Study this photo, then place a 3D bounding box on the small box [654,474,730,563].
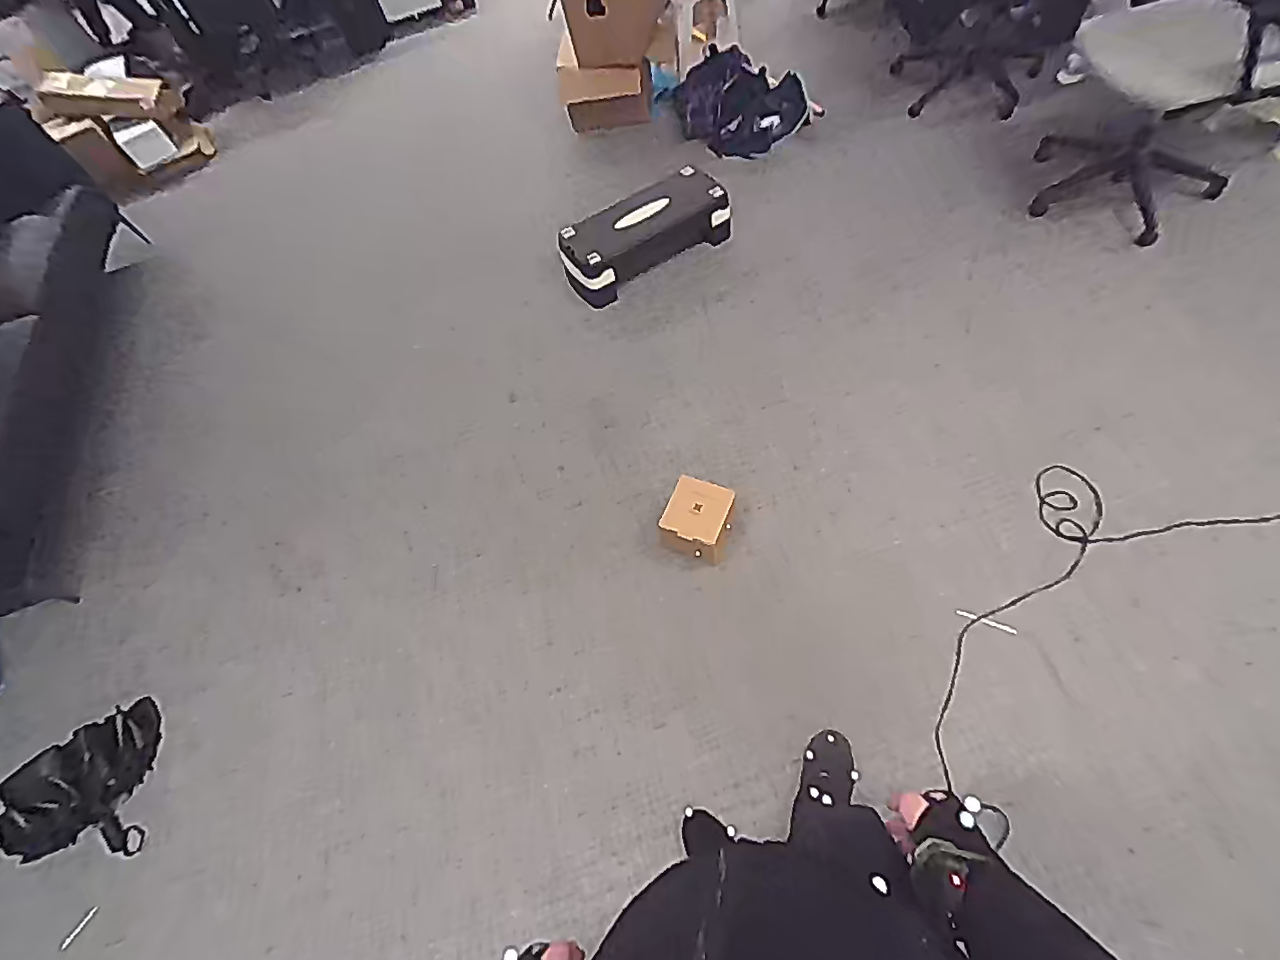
[{"bbox_3d":[0.155,0.117,1.565,0.168,0.176,0.179,19,64,17],"label":"small box"}]
